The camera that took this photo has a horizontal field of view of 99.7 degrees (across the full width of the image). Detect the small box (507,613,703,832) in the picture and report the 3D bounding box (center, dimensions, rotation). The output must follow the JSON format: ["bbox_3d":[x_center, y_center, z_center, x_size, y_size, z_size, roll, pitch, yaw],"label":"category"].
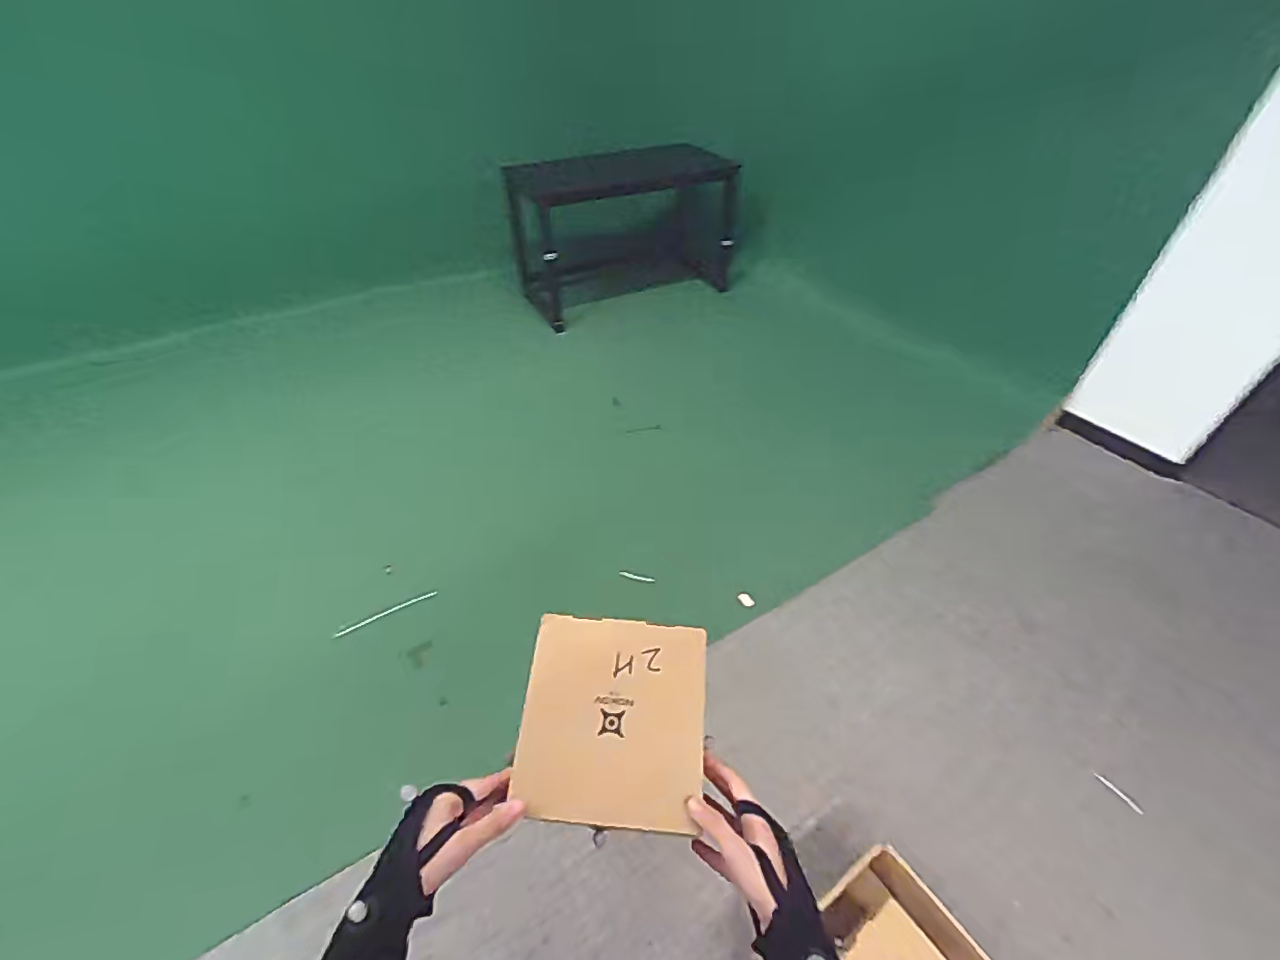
[{"bbox_3d":[-0.024,0.257,0.563,0.168,0.176,0.179,4,56,3],"label":"small box"}]

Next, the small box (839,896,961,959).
[{"bbox_3d":[0.496,0.938,1.012,0.168,0.176,0.179,-29,51,-23],"label":"small box"}]
